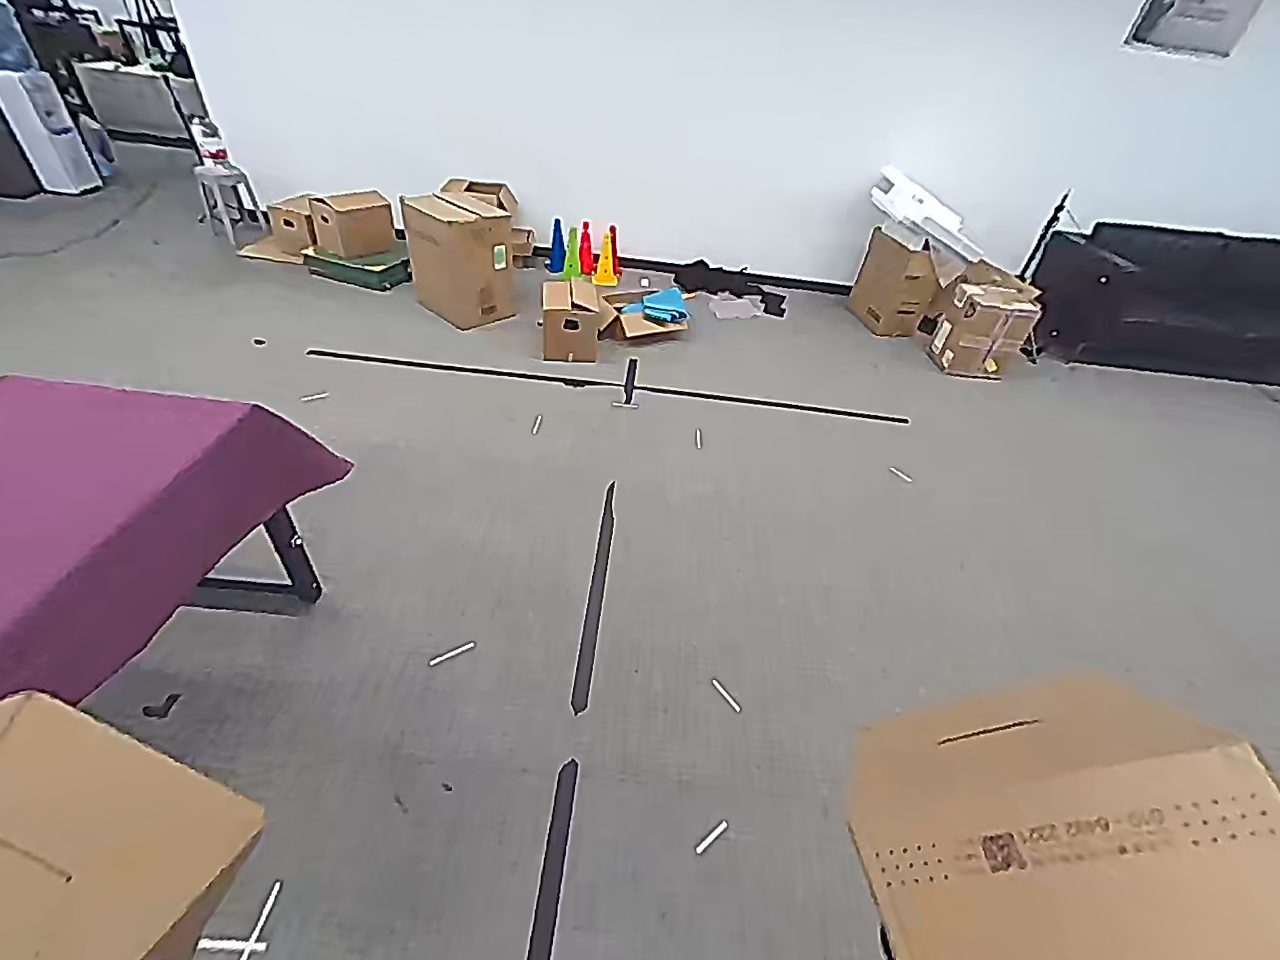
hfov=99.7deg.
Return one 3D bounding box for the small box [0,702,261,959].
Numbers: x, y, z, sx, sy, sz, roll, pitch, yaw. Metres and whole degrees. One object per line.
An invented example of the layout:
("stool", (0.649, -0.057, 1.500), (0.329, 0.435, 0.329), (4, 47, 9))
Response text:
("small box", (-0.332, 0.233, 0.243), (0.168, 0.176, 0.179), (32, -4, -4))
